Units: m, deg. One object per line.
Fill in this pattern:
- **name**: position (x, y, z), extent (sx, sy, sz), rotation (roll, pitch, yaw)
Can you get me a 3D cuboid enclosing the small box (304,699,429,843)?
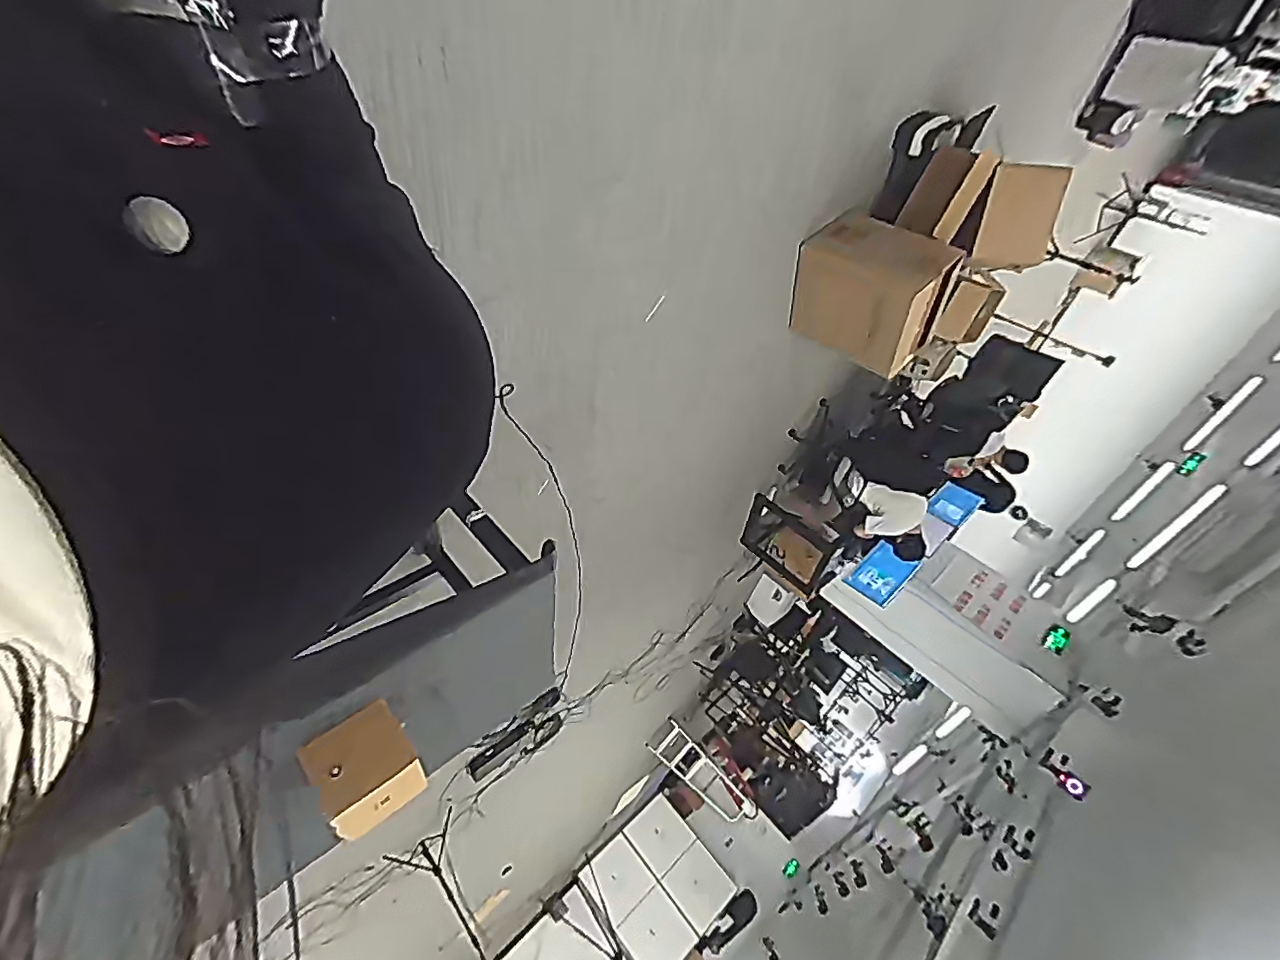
- **small box**: position (-0.576, 0.605, 1.136), extent (0.179, 0.176, 0.168), rotation (-30, 146, -34)
